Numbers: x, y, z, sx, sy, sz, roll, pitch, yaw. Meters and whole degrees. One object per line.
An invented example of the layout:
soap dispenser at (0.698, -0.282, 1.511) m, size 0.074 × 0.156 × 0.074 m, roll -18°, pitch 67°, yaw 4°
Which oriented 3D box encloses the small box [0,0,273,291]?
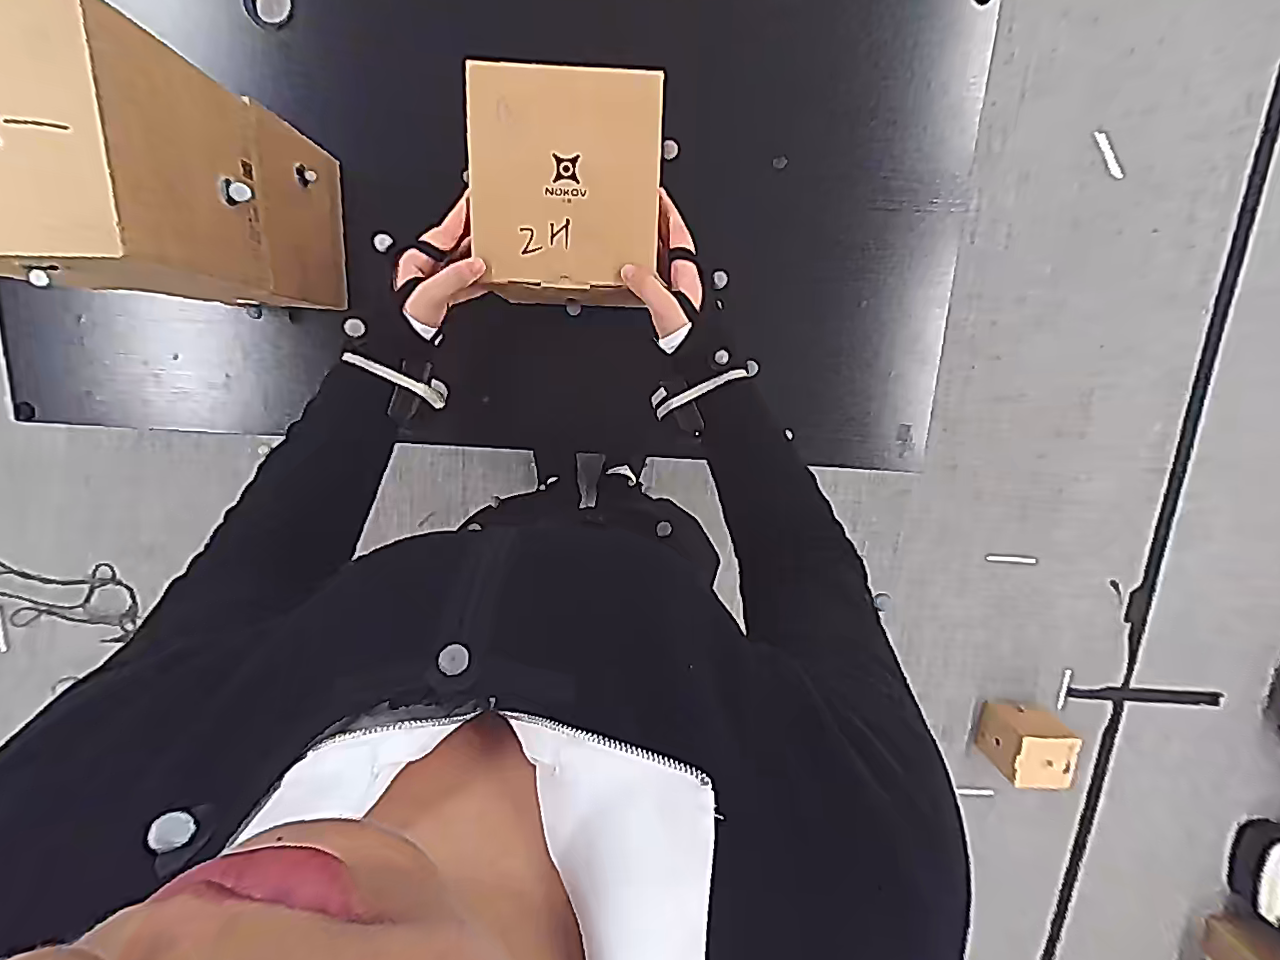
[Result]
small box at (-0.439, -0.249, 0.432) m, size 0.179 × 0.176 × 0.168 m, roll 0°, pitch 101°, yaw -3°

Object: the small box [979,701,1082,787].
small box at (1.167, 0.789, 1.631) m, size 0.179 × 0.176 × 0.168 m, roll 4°, pitch 102°, yaw -2°

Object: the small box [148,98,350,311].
small box at (-0.444, -0.288, 0.592) m, size 0.168 × 0.176 × 0.179 m, roll 2°, pitch 102°, yaw -2°
